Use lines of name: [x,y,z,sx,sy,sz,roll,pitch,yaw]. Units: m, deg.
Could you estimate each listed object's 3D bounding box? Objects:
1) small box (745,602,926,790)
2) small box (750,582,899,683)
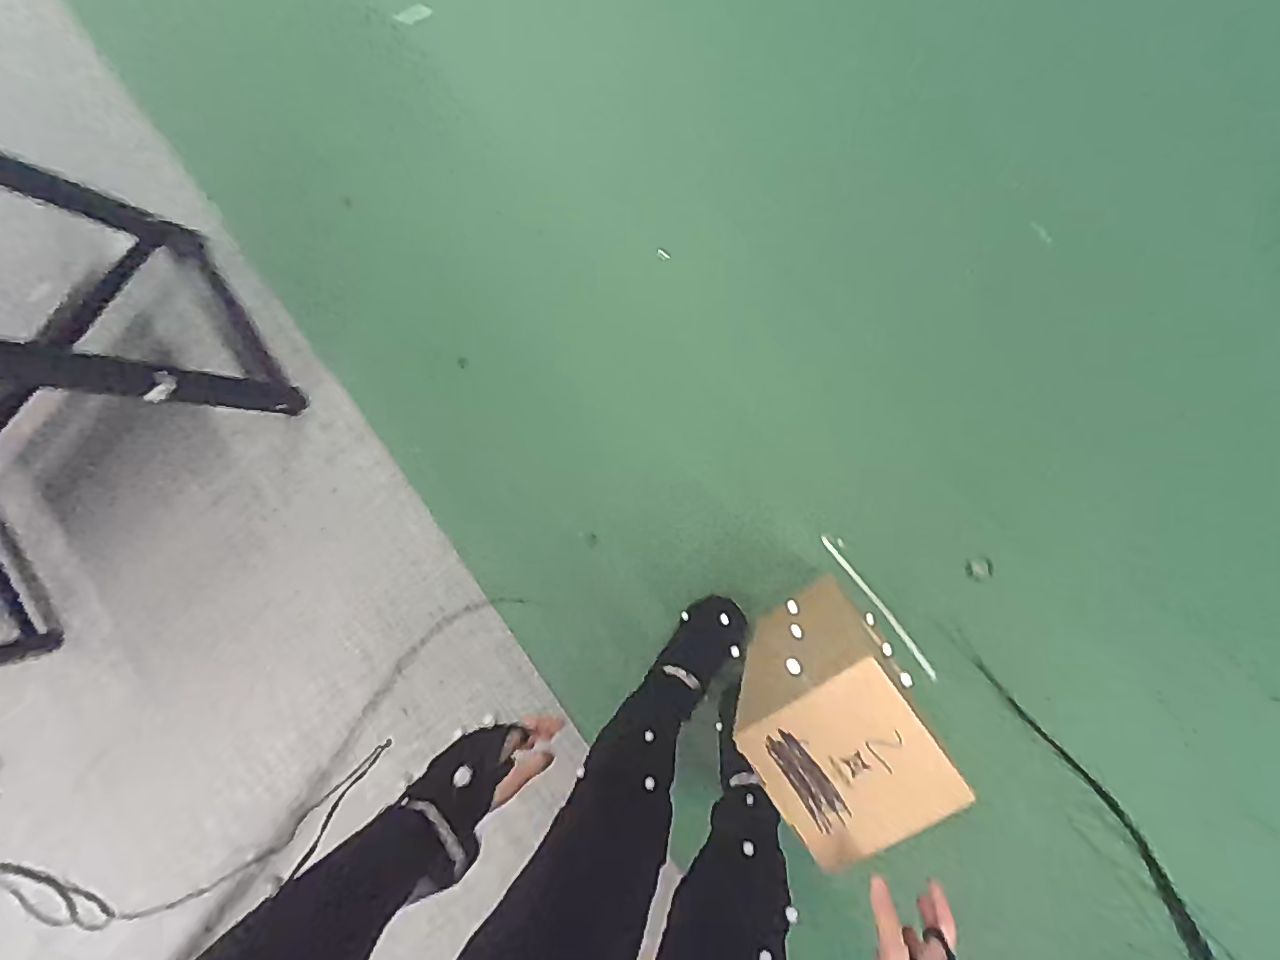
small box: [0.273,0.301,0.793,0.179,0.176,0.168,-35,81,12]
small box: [0.317,0.304,0.952,0.179,0.176,0.168,-38,81,11]
